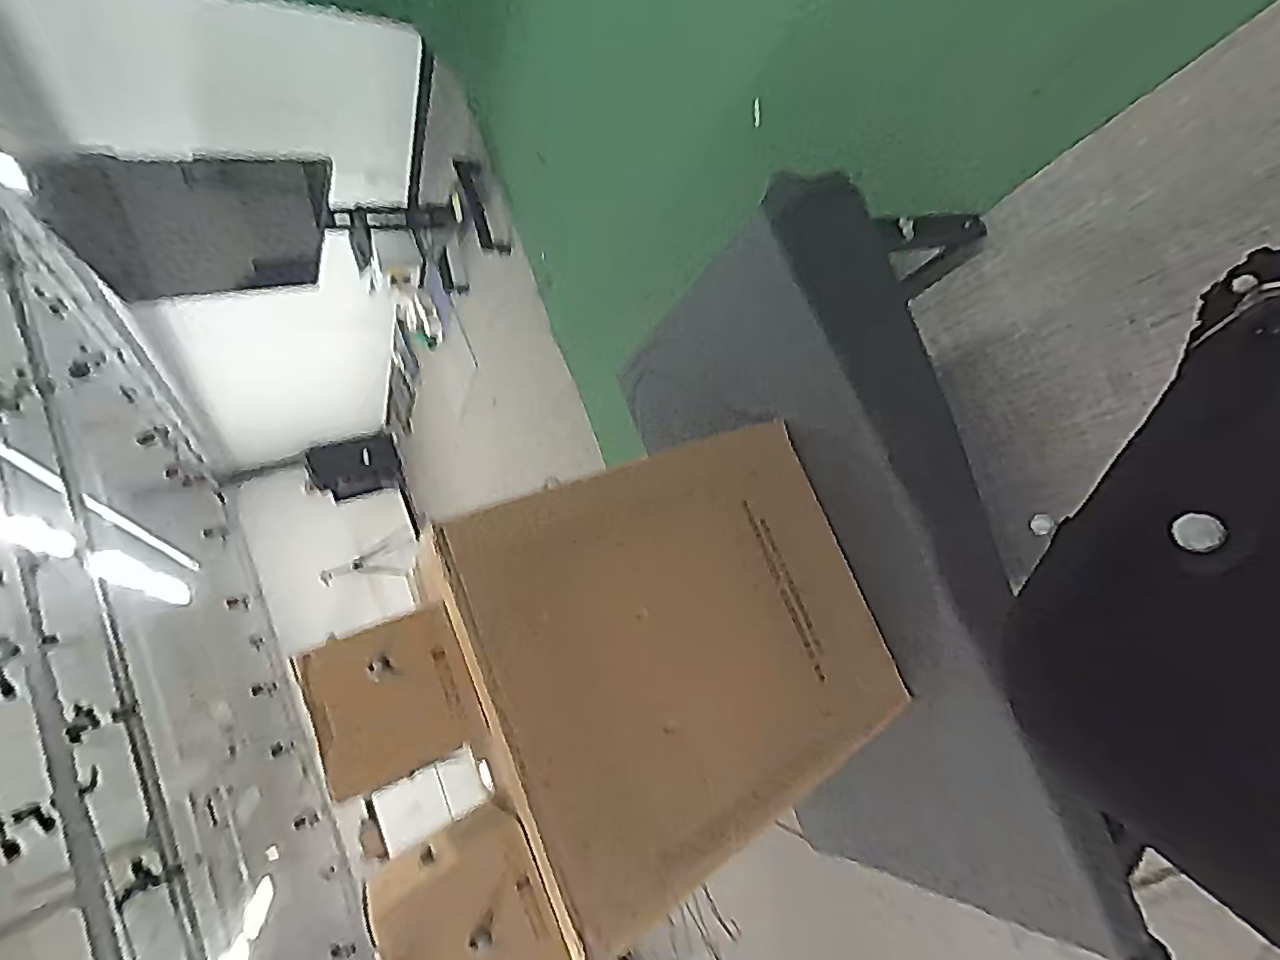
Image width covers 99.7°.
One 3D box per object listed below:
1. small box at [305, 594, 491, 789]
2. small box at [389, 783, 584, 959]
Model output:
[{"bbox_3d":[-0.304,0.258,0.689,0.179,0.176,0.168,-39,71,57],"label":"small box"},{"bbox_3d":[-0.188,0.500,0.663,0.168,0.176,0.179,64,147,11],"label":"small box"}]
